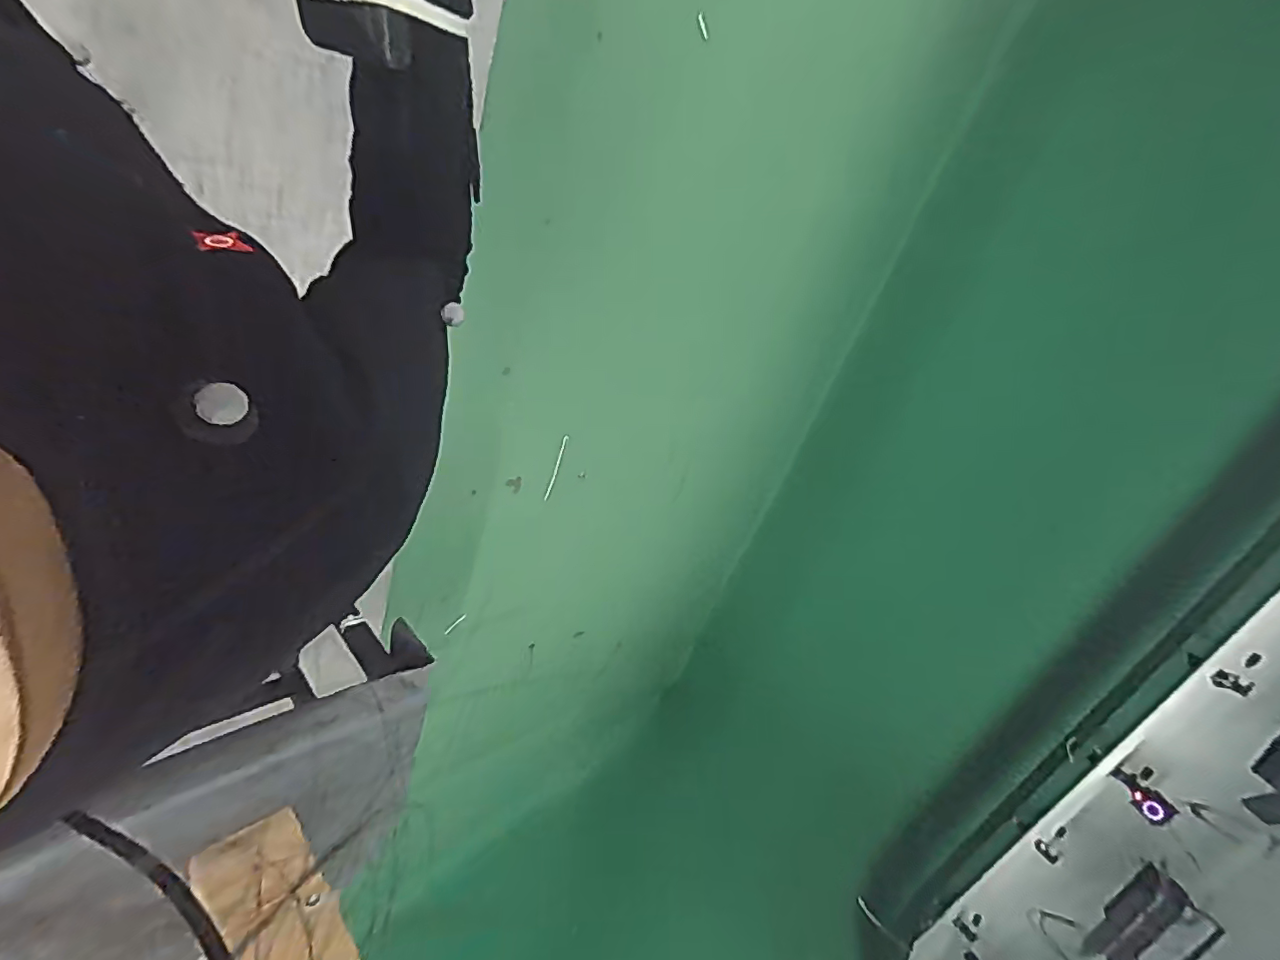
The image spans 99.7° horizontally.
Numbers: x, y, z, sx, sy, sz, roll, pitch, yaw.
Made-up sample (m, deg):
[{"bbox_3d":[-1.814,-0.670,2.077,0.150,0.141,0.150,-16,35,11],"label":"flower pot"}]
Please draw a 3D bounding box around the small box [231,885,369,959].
[{"bbox_3d":[-0.618,0.885,0.974,0.168,0.176,0.179,-7,127,-51],"label":"small box"}]

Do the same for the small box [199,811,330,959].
[{"bbox_3d":[-0.734,0.801,1.054,0.168,0.176,0.179,-10,128,-50],"label":"small box"}]
